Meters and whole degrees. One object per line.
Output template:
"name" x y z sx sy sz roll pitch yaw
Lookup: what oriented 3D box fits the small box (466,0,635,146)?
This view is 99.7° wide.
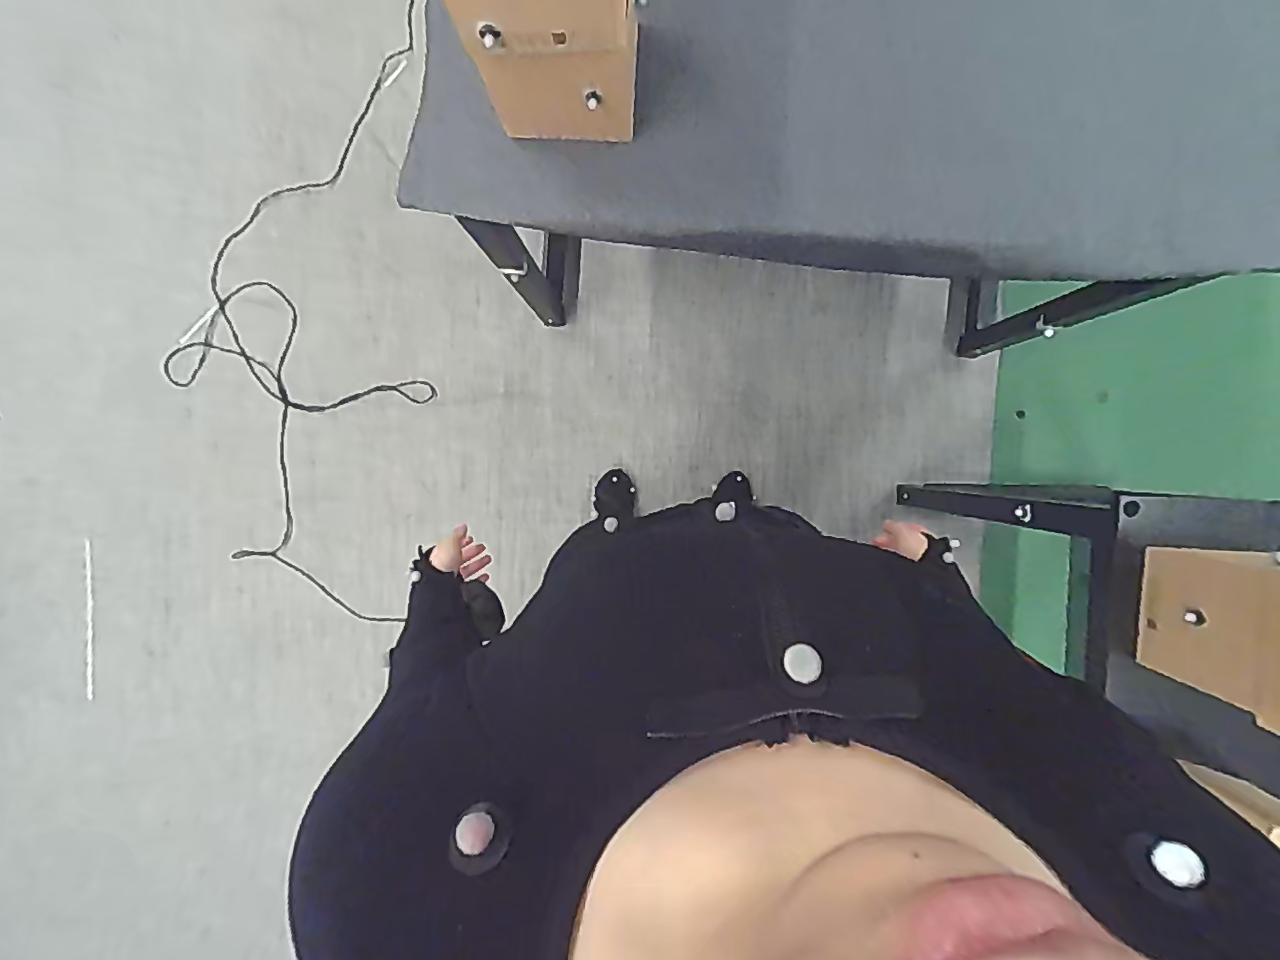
"small box" -0.098 -0.544 0.669 0.179 0.176 0.168 2 90 3

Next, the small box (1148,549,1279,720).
"small box" 0.776 0.181 0.654 0.179 0.176 0.168 2 93 2
